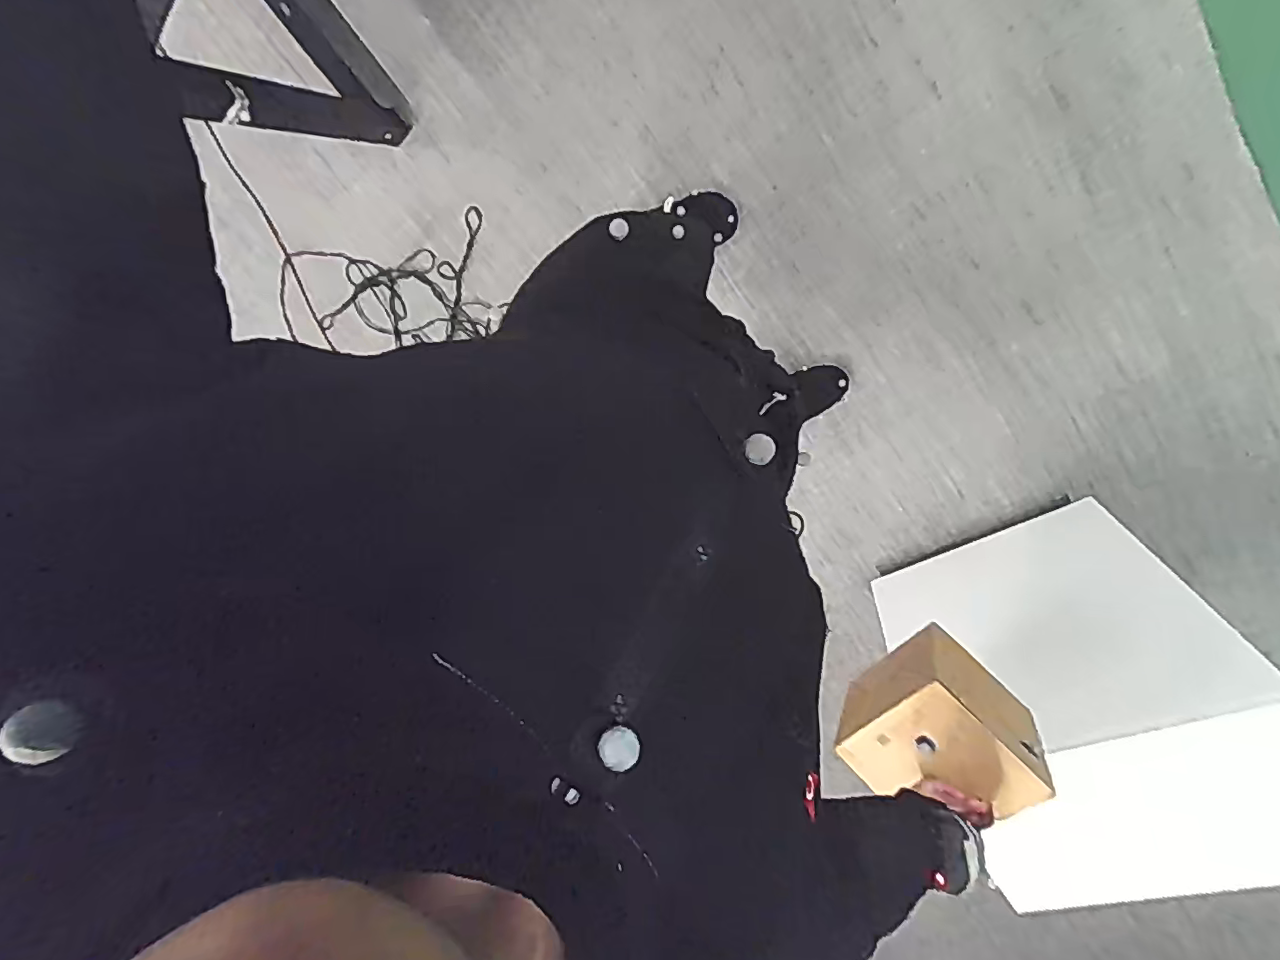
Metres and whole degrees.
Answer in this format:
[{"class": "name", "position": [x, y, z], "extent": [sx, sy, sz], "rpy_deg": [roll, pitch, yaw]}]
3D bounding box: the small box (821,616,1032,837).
[{"class": "small box", "position": [0.371, 0.314, 0.724], "extent": [0.176, 0.179, 0.168], "rpy_deg": [45, 117, 12]}]
